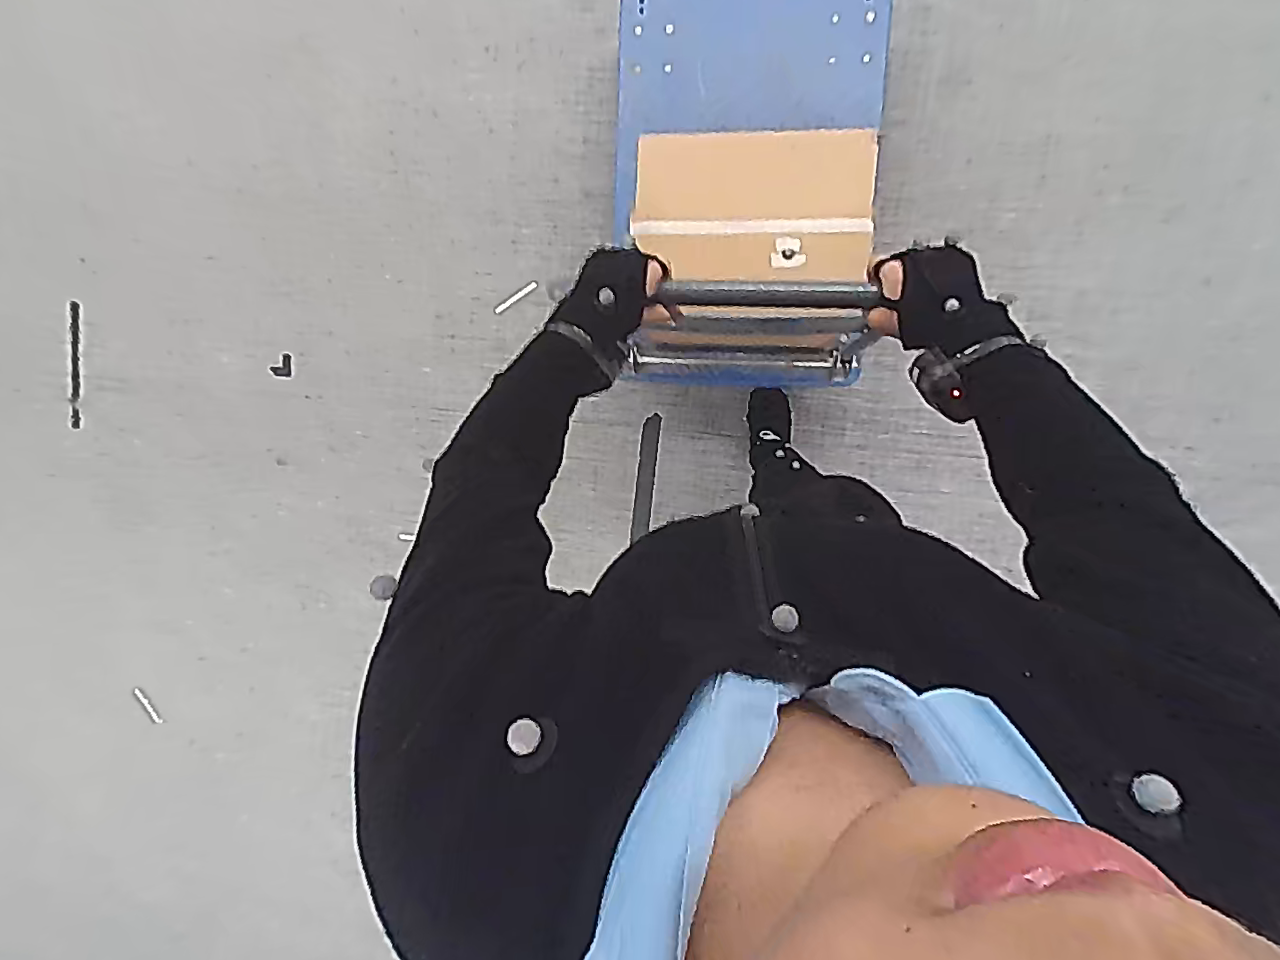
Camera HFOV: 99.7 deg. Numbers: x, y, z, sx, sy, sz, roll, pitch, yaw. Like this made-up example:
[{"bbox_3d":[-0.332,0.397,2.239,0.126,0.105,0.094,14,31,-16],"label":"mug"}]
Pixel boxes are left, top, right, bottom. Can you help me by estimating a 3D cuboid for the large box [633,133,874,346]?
[{"bbox_3d":[0.203,-0.448,1.082,0.408,0.320,0.320,3,97,6],"label":"large box"}]
